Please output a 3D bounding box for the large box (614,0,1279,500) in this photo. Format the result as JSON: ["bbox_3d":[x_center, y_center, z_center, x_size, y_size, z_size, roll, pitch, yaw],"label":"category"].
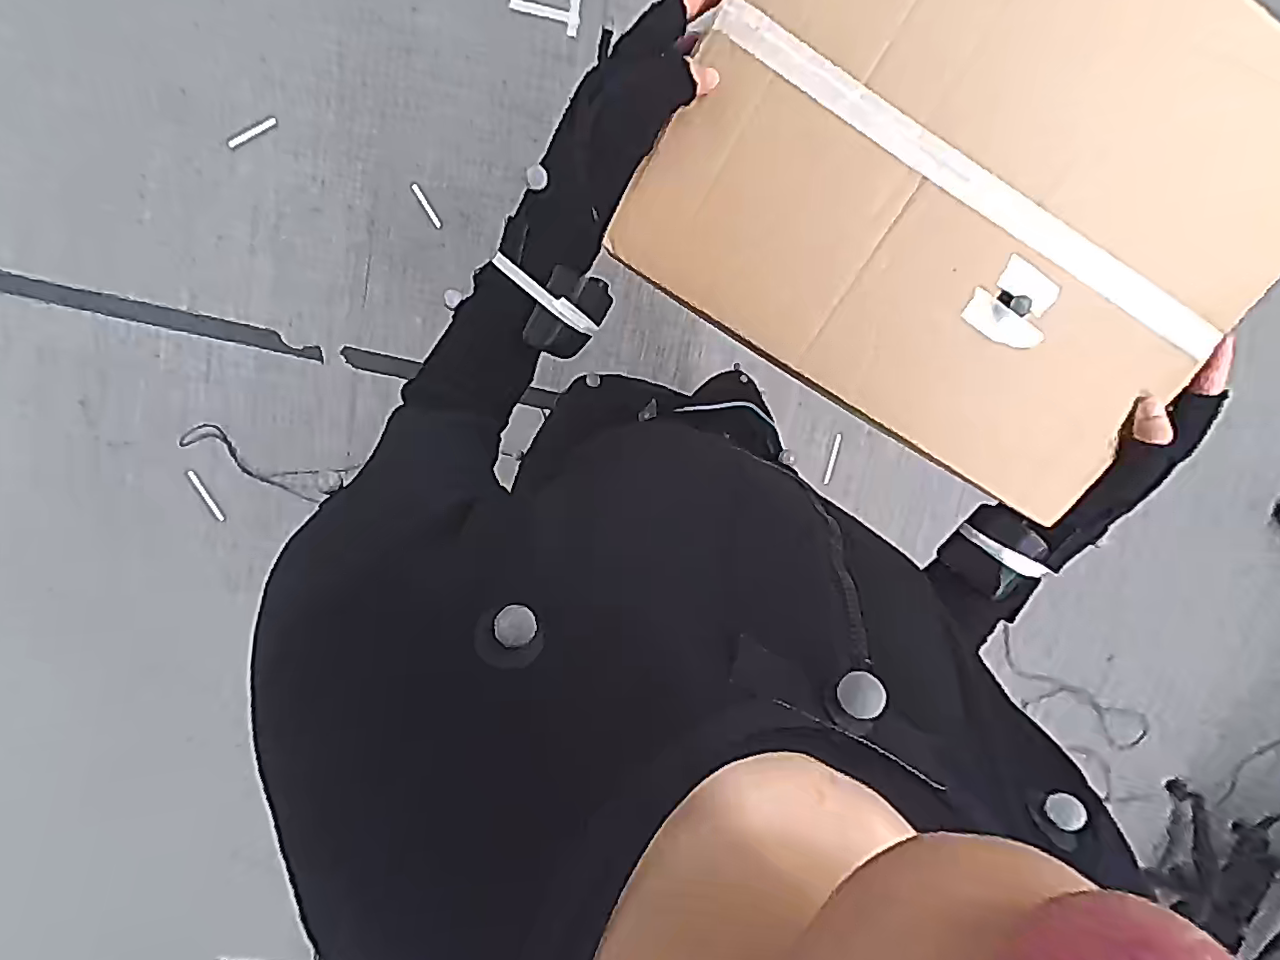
[{"bbox_3d":[0.229,-0.246,0.514,0.408,0.320,0.320,30,107,-7],"label":"large box"}]
